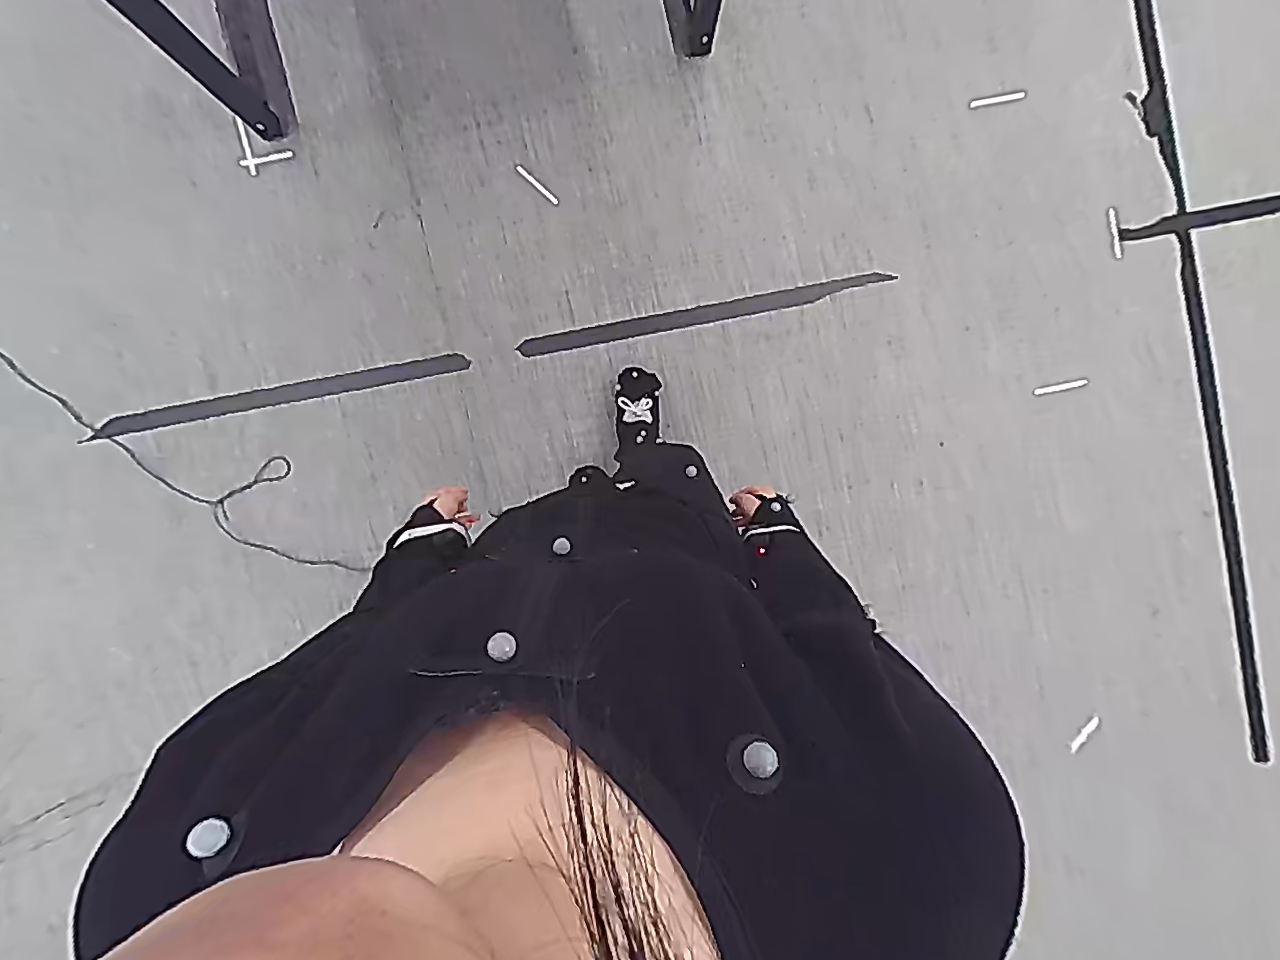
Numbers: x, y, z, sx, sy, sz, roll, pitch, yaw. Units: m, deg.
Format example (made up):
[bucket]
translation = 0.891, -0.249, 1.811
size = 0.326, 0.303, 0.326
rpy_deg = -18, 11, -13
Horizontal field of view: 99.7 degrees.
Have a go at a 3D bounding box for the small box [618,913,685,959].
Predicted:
[small box]
translation = 0.037, 1.340, 1.485
size = 0.168, 0.176, 0.179
rpy_deg = -14, 94, -1
